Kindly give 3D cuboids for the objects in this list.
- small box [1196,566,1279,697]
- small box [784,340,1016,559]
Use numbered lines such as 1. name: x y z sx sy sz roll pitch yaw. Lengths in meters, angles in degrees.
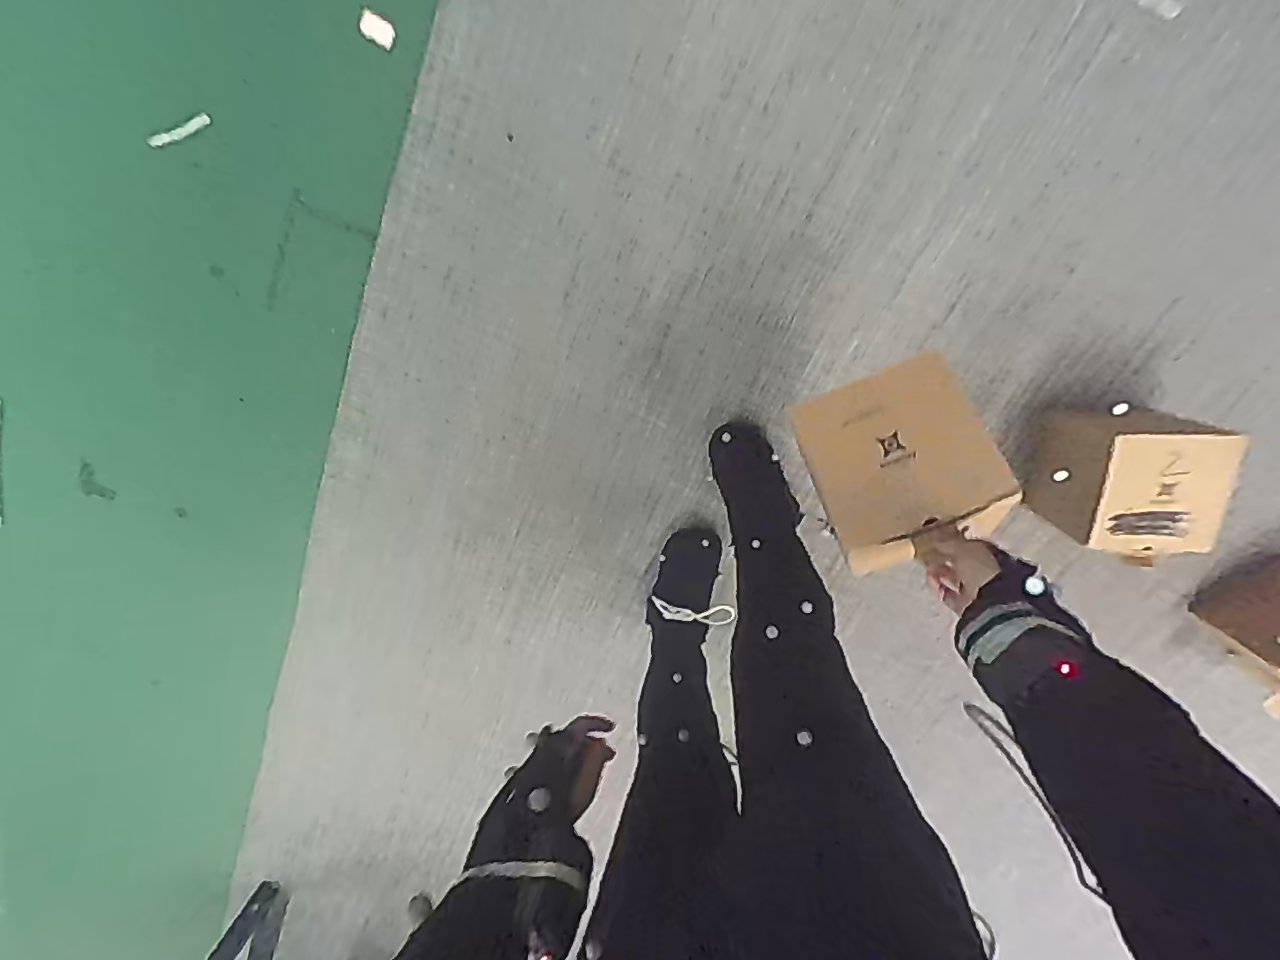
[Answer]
1. small box: 1.105 0.265 0.890 0.168 0.176 0.179 43 109 -11
2. small box: 0.283 -0.018 0.614 0.168 0.176 0.179 -22 65 15
